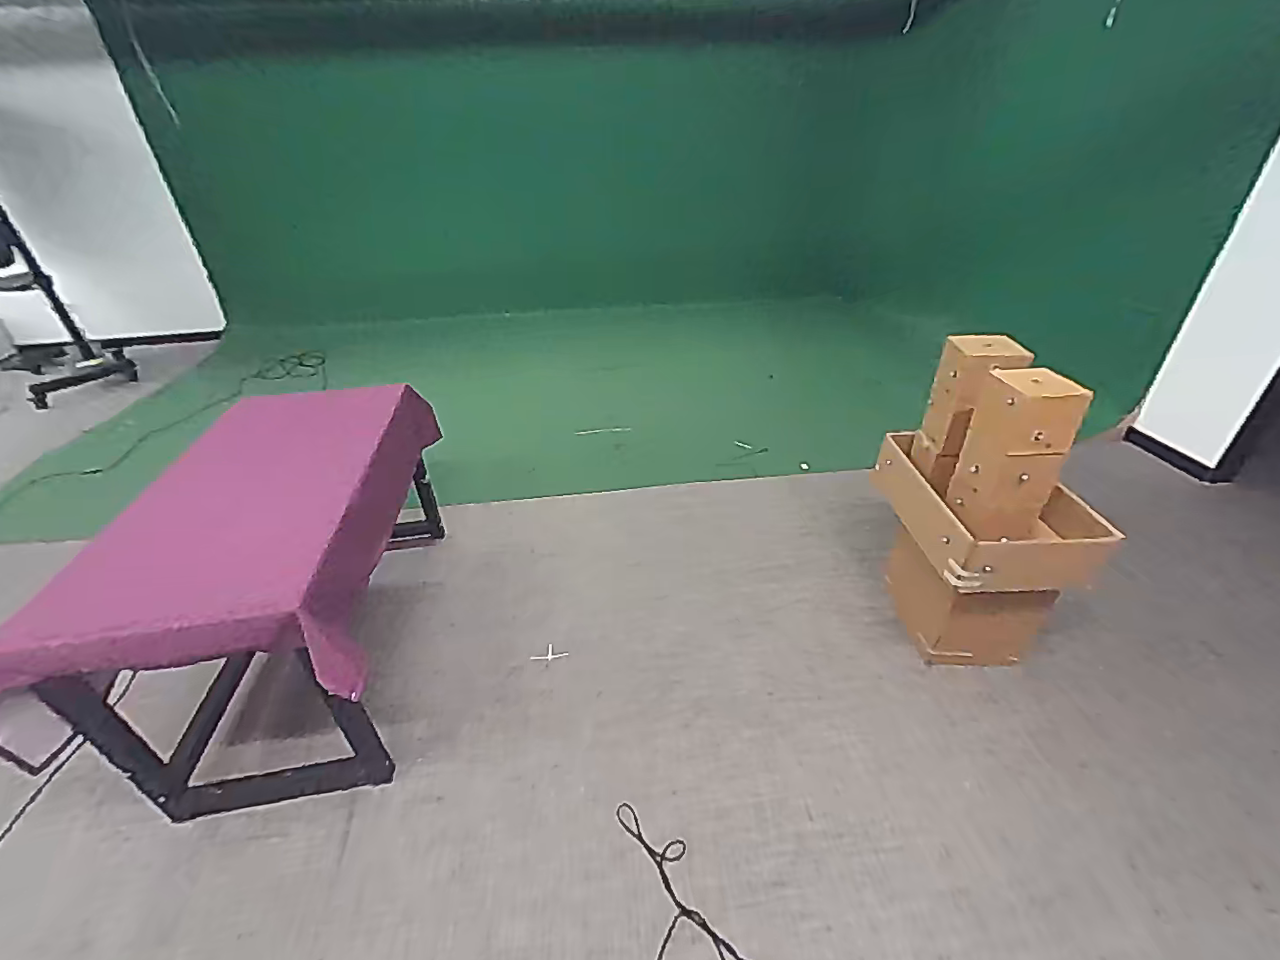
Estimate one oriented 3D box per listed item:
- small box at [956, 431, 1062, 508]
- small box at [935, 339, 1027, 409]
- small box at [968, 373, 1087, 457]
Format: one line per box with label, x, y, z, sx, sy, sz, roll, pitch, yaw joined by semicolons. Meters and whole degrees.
small box;1.017;-0.032;1.513;0.179;0.176;0.168;-4;33;-2
small box;1.029;-0.322;1.655;0.179;0.176;0.168;2;34;4
small box;1.010;-0.173;1.430;0.168;0.176;0.179;-3;33;-2
